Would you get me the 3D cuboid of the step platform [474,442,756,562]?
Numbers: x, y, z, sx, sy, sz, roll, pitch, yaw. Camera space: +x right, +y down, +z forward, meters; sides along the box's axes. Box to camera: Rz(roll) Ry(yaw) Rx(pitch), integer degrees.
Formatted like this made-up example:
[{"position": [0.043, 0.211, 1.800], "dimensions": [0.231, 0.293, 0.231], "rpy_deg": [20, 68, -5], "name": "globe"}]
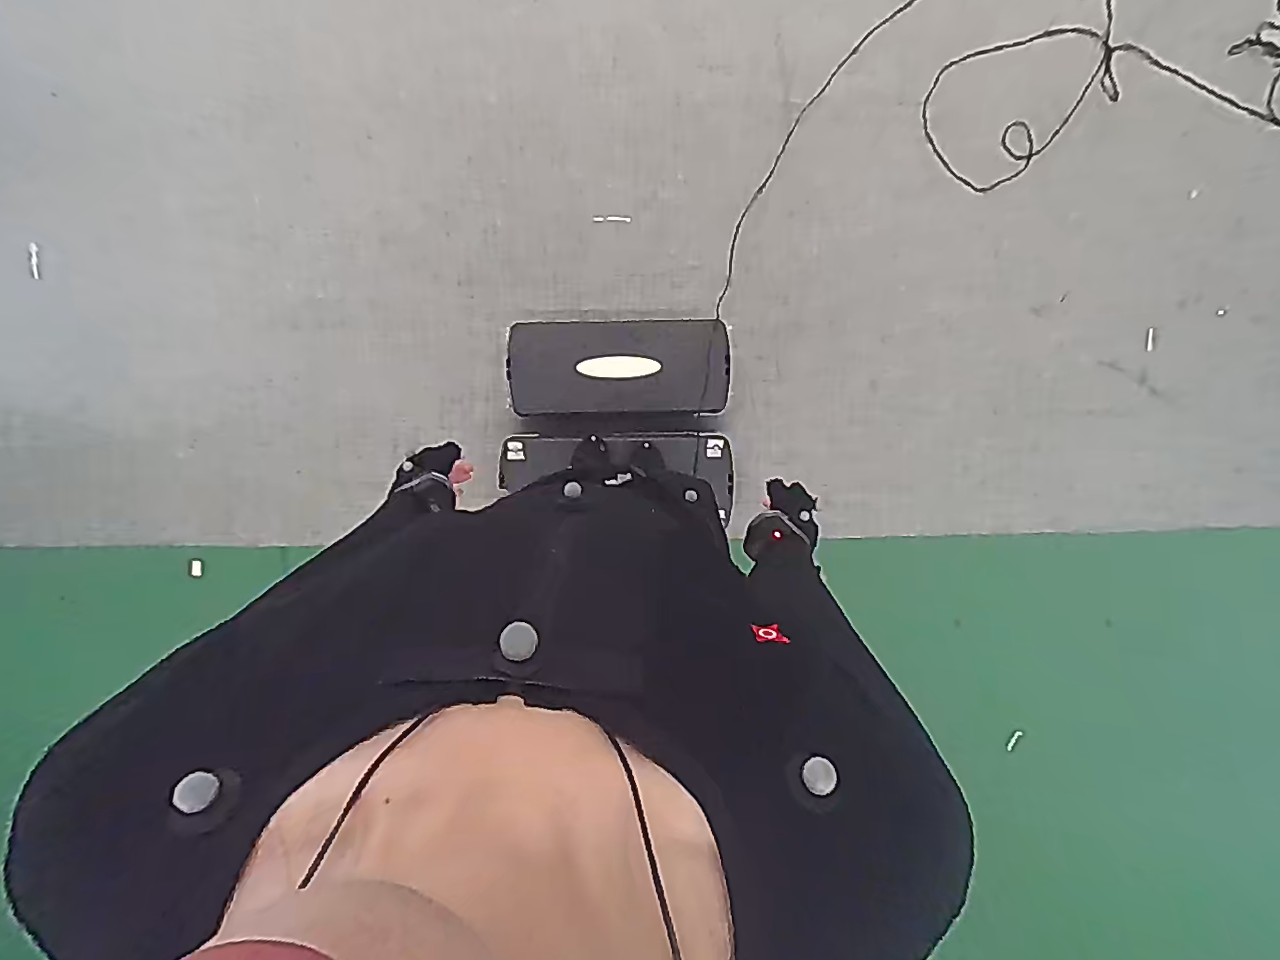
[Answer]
[{"position": [-0.062, 0.048, 1.398], "dimensions": [0.684, 0.204, 0.286], "rpy_deg": [-1, 93, -2], "name": "step platform"}]
